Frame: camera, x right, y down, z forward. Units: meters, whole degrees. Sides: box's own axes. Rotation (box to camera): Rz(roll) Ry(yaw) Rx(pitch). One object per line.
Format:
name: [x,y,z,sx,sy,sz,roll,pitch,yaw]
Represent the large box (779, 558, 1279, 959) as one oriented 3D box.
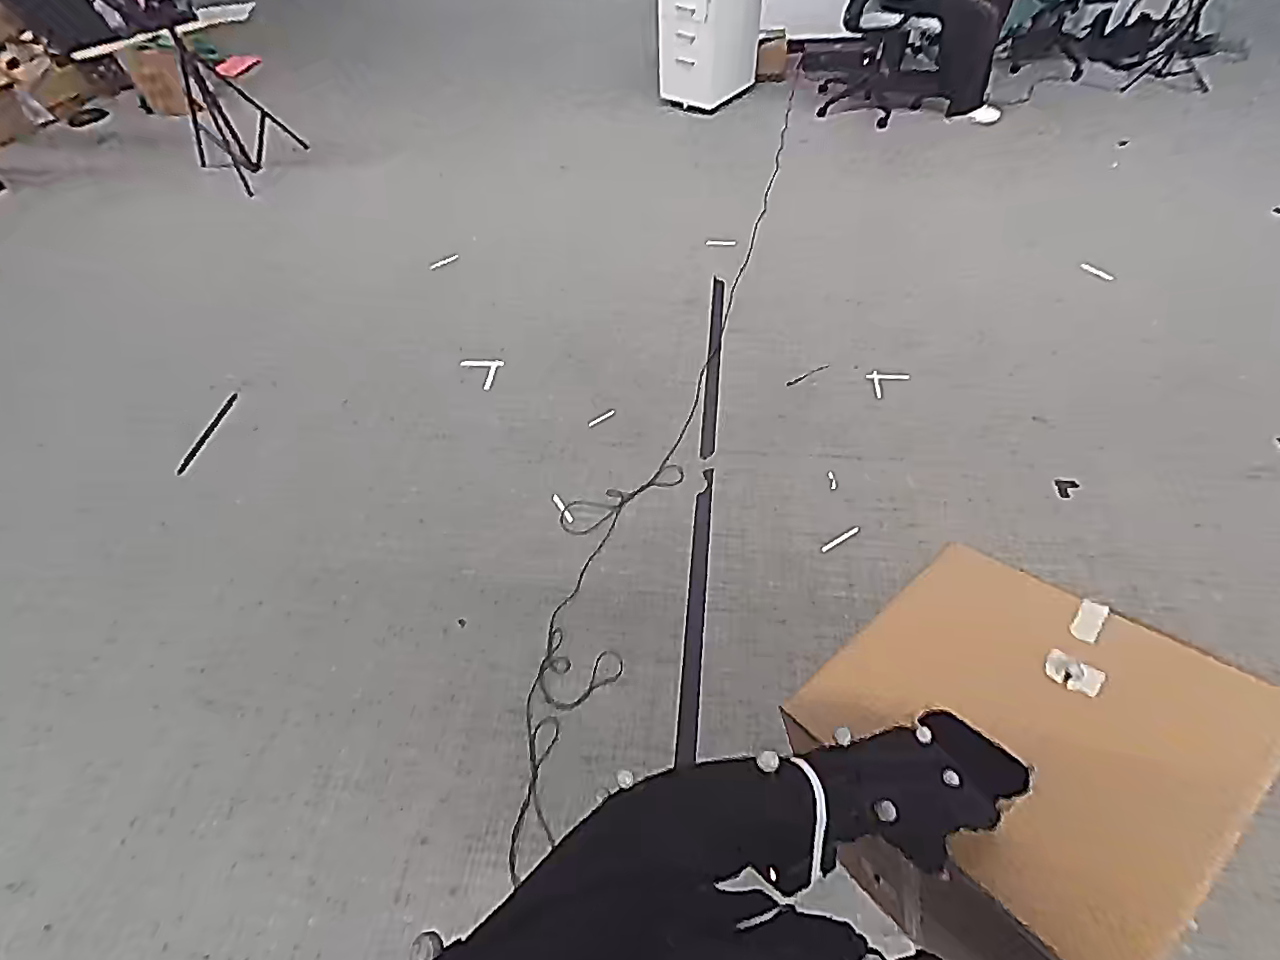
large box: [0.415,0.374,0.634,0.320,0.408,0.320,-35,36,-15]
